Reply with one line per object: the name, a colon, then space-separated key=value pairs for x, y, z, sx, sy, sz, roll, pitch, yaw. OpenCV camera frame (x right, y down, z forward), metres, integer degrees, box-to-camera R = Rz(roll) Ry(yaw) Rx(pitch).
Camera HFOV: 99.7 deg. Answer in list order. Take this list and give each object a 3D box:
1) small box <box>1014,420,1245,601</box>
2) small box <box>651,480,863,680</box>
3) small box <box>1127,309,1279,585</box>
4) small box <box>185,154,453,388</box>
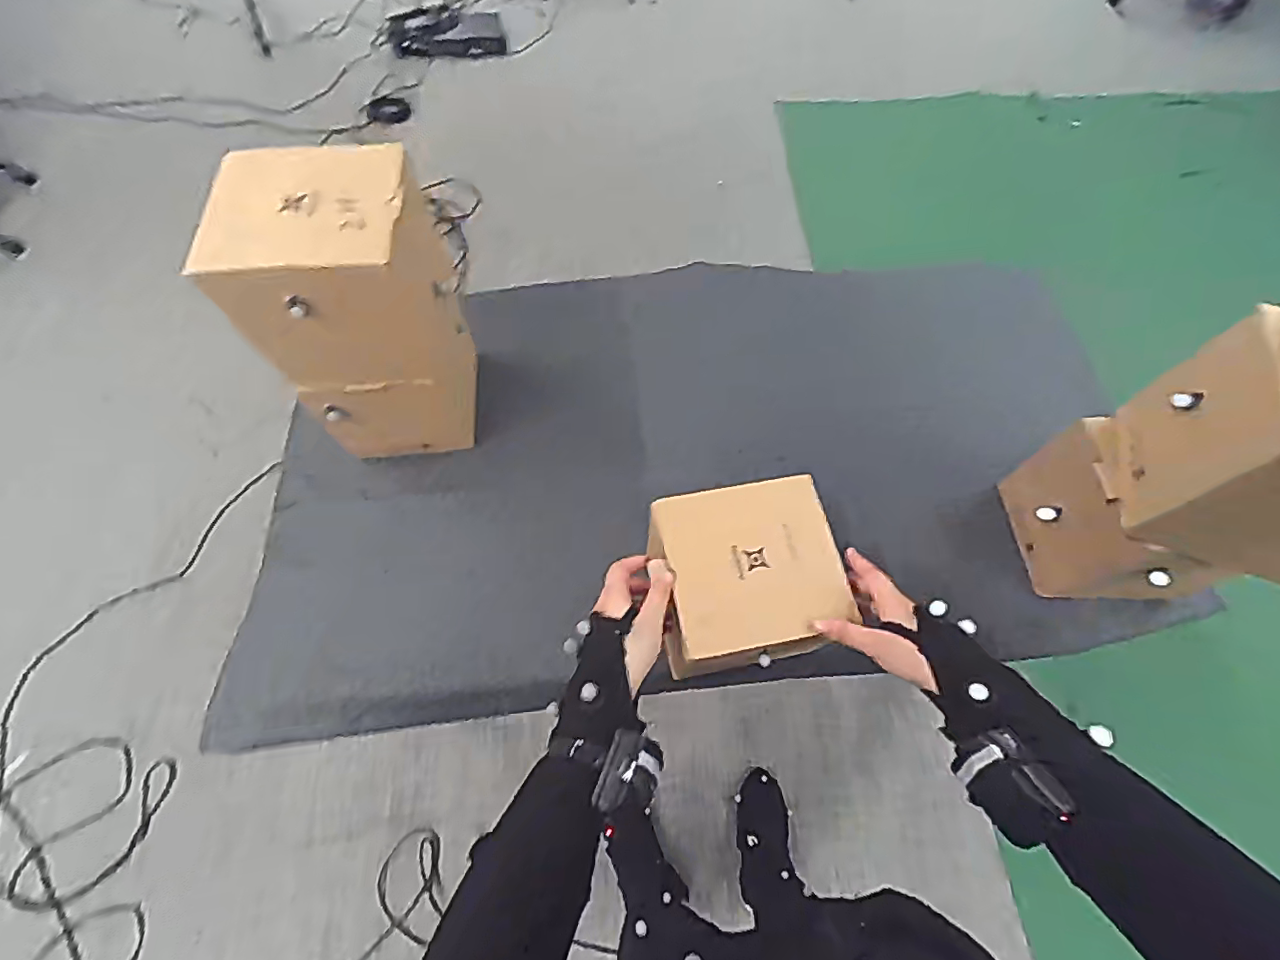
small box: x=0.591 y=0.043 z=0.648 sx=0.179 sy=0.176 sz=0.168 roll=0 pitch=62 yaw=0
small box: x=0.113 y=0.120 z=0.609 sx=0.179 sy=0.176 sz=0.168 roll=-11 pitch=66 yaw=-6
small box: x=0.597 y=-0.019 z=0.496 sx=0.179 sy=0.176 sz=0.168 roll=19 pitch=63 yaw=9
small box: x=-0.316 y=-0.212 z=0.576 sx=0.179 sy=0.176 sz=0.168 roll=-4 pitch=66 yaw=-4
